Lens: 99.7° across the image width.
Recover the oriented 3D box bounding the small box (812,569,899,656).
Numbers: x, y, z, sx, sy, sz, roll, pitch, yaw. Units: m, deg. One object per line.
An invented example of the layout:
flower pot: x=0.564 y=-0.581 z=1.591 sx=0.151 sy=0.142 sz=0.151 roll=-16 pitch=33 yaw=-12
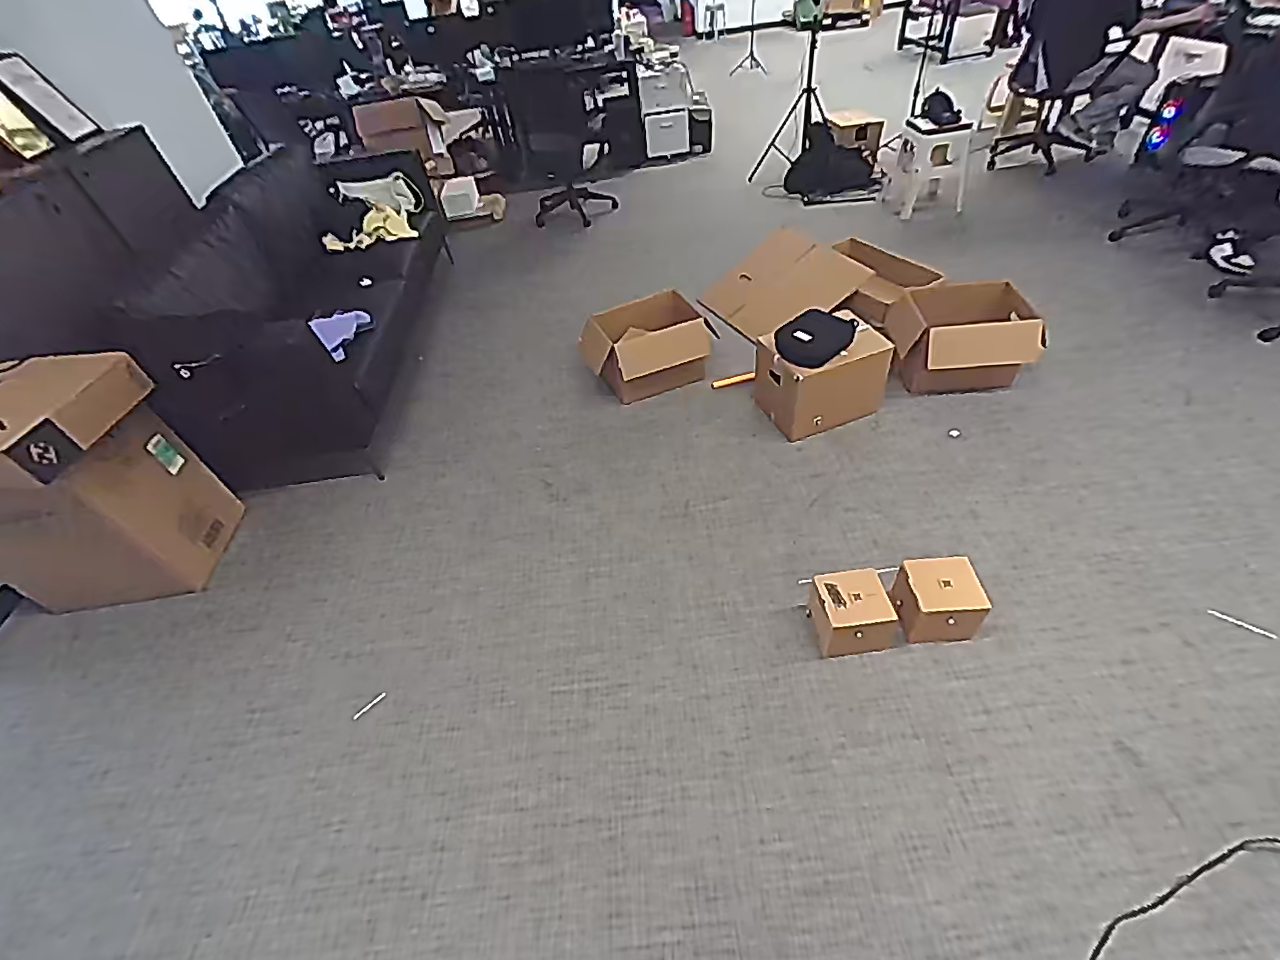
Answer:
small box: x=0.587 y=0.374 z=1.506 sx=0.179 sy=0.176 sz=0.168 roll=-8 pitch=45 yaw=1

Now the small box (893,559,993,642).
small box: x=0.830 y=0.337 z=1.501 sx=0.179 sy=0.176 sz=0.168 roll=-5 pitch=46 yaw=6
